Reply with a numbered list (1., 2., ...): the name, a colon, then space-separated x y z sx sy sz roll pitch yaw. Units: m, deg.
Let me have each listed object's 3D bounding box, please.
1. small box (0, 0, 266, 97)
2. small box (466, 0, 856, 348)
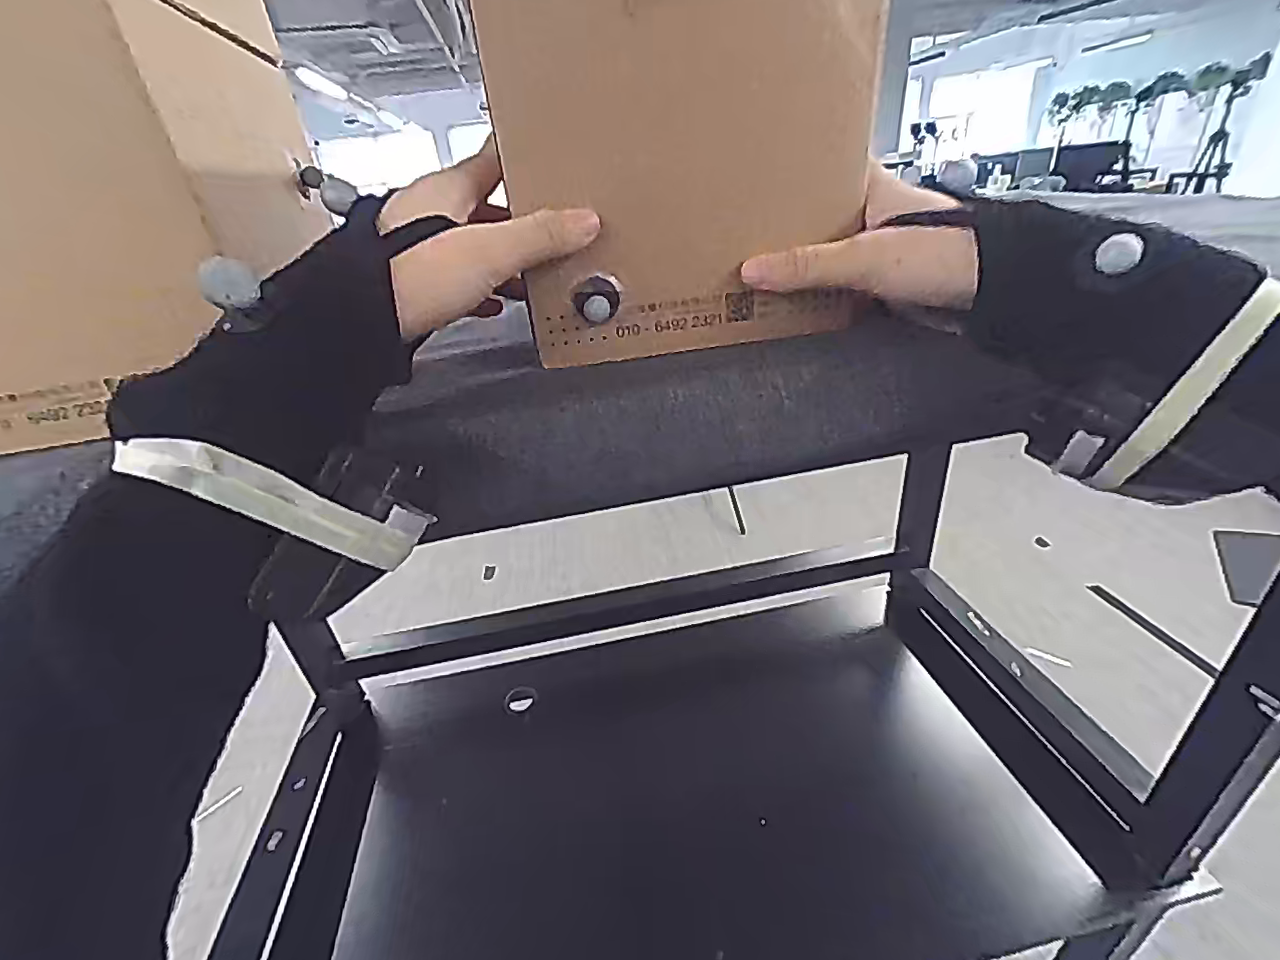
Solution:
1. small box: -0.290 -0.272 0.209 0.168 0.176 0.179 -10 27 -6
2. small box: 0.010 -0.180 0.312 0.168 0.176 0.179 -9 28 -5
